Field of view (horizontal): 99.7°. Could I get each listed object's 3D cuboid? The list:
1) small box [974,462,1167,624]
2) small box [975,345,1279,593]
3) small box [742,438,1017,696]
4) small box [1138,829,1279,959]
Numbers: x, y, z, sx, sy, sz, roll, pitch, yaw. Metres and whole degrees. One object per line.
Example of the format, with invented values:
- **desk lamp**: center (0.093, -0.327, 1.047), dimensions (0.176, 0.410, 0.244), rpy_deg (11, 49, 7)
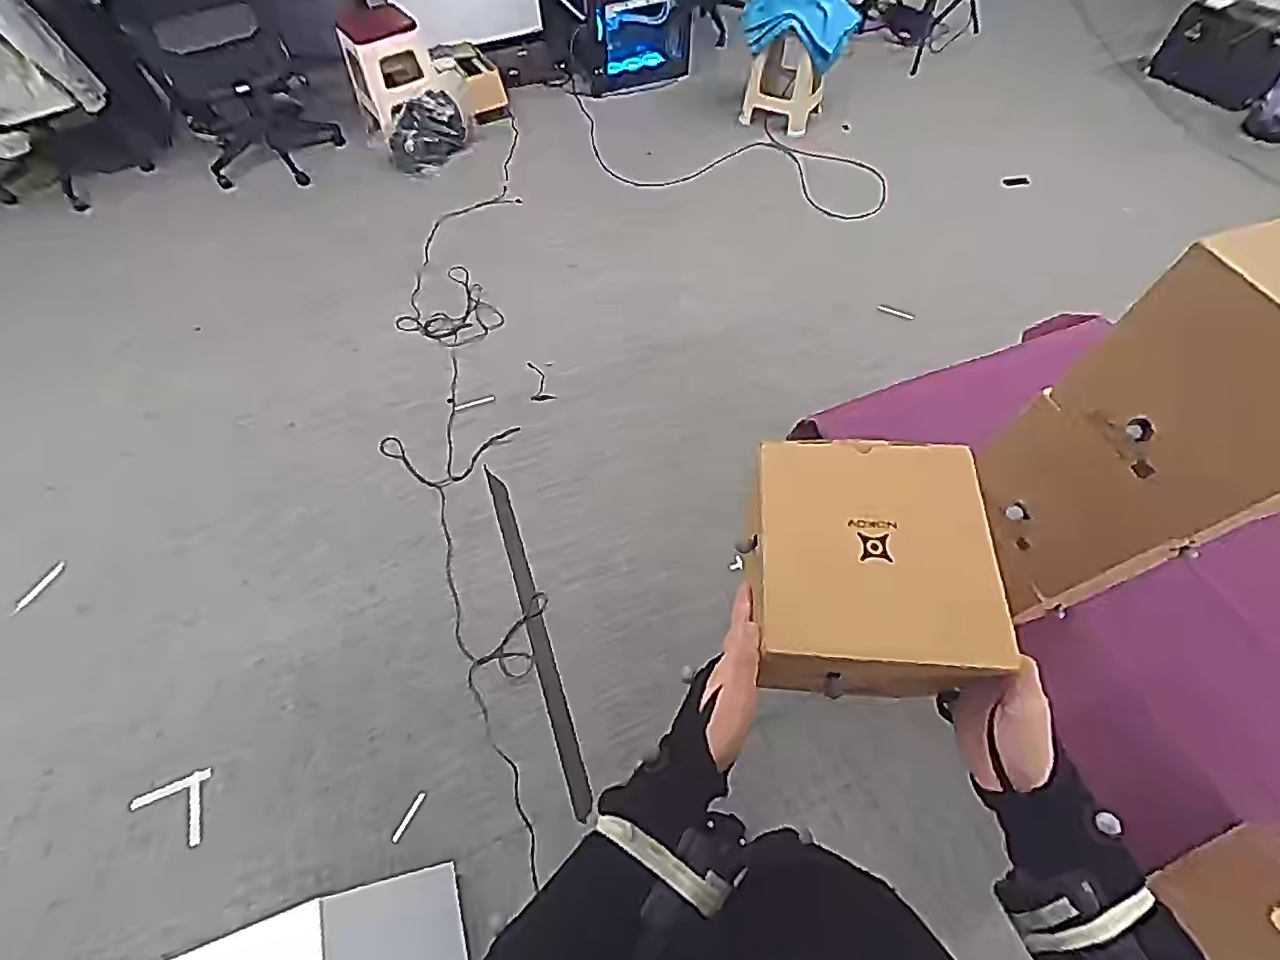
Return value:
- **small box**: center (0.484, 0.079, 0.696), dimensions (0.168, 0.176, 0.179), rpy_deg (-15, 60, -8)
- **small box**: center (0.491, -0.004, 0.555), dimensions (0.179, 0.176, 0.168), rpy_deg (-16, 61, -7)
- **small box**: center (0.179, 0.081, 0.466), dimensions (0.168, 0.176, 0.179), rpy_deg (2, 61, 7)
- **small box**: center (0.626, 0.435, 0.483), dimensions (0.179, 0.176, 0.168), rpy_deg (-19, 59, -9)
